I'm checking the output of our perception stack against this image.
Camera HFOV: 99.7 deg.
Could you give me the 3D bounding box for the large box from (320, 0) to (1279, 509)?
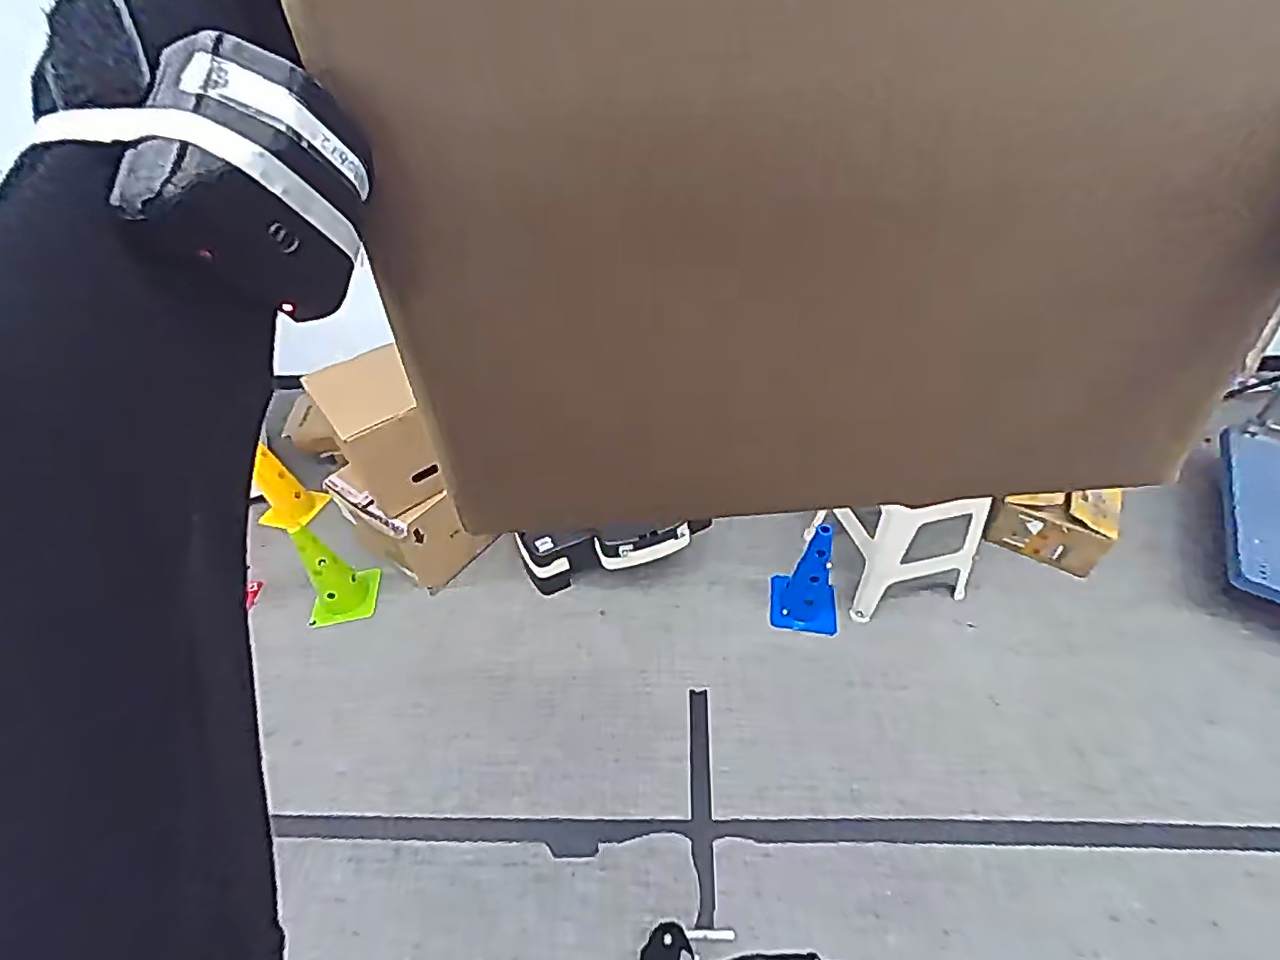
[{"bbox_3d":[0.080,-0.202,0.349,0.408,0.320,0.320,-4,35,0],"label":"large box"}]
